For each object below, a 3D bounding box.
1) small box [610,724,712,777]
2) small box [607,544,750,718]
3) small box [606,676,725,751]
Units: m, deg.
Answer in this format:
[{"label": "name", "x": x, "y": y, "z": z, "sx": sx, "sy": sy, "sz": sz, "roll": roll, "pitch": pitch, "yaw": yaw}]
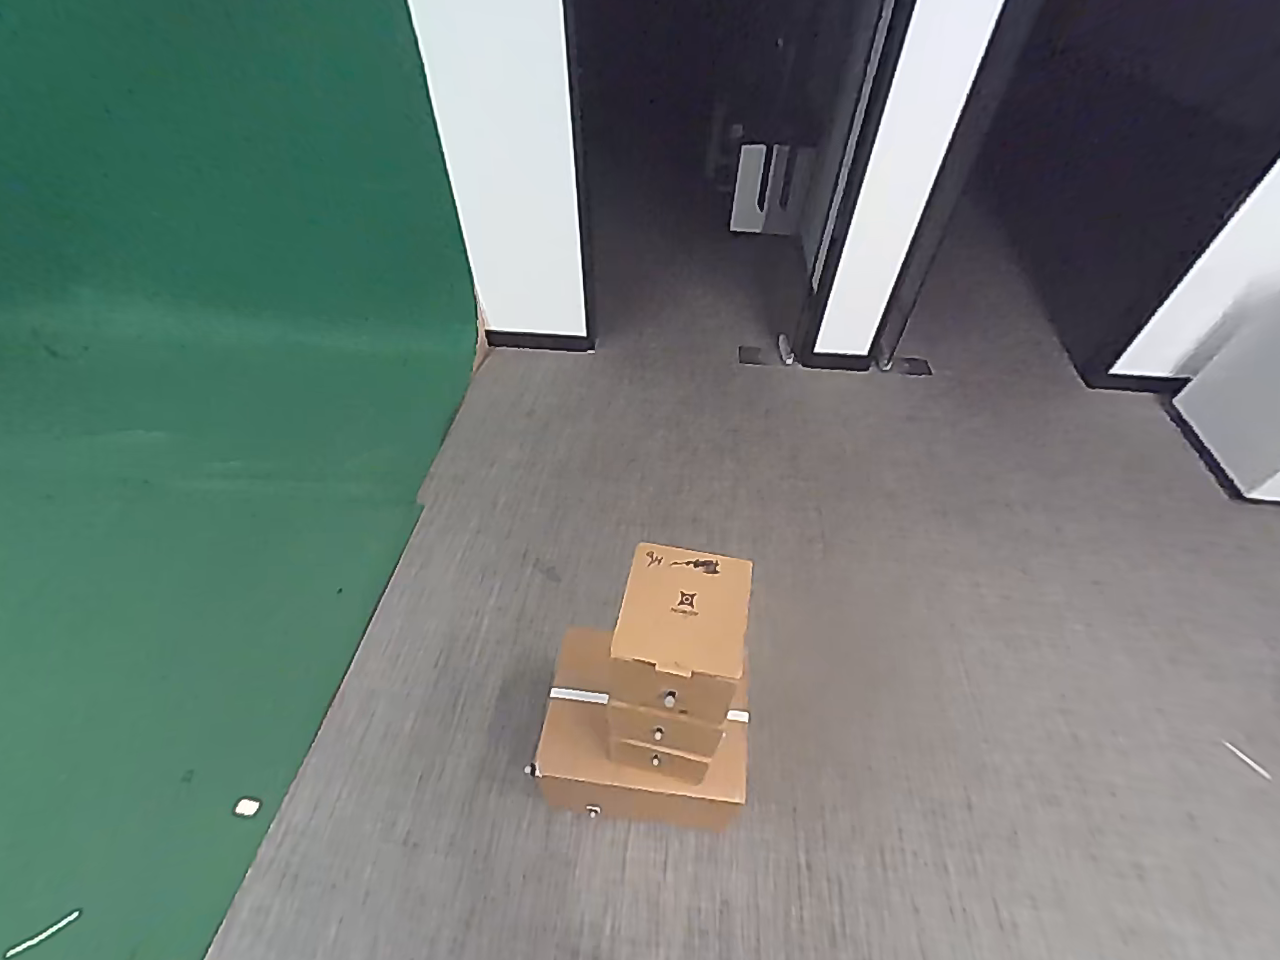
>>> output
[{"label": "small box", "x": 0.049, "y": 0.440, "z": 1.018, "sx": 0.179, "sy": 0.176, "sz": 0.168, "roll": 11, "pitch": 52, "yaw": 7}, {"label": "small box", "x": 0.058, "y": 0.220, "z": 0.776, "sx": 0.168, "sy": 0.176, "sz": 0.179, "roll": 10, "pitch": 52, "yaw": 8}, {"label": "small box", "x": 0.053, "y": 0.332, "z": 0.896, "sx": 0.179, "sy": 0.176, "sz": 0.168, "roll": 8, "pitch": 51, "yaw": 10}]
